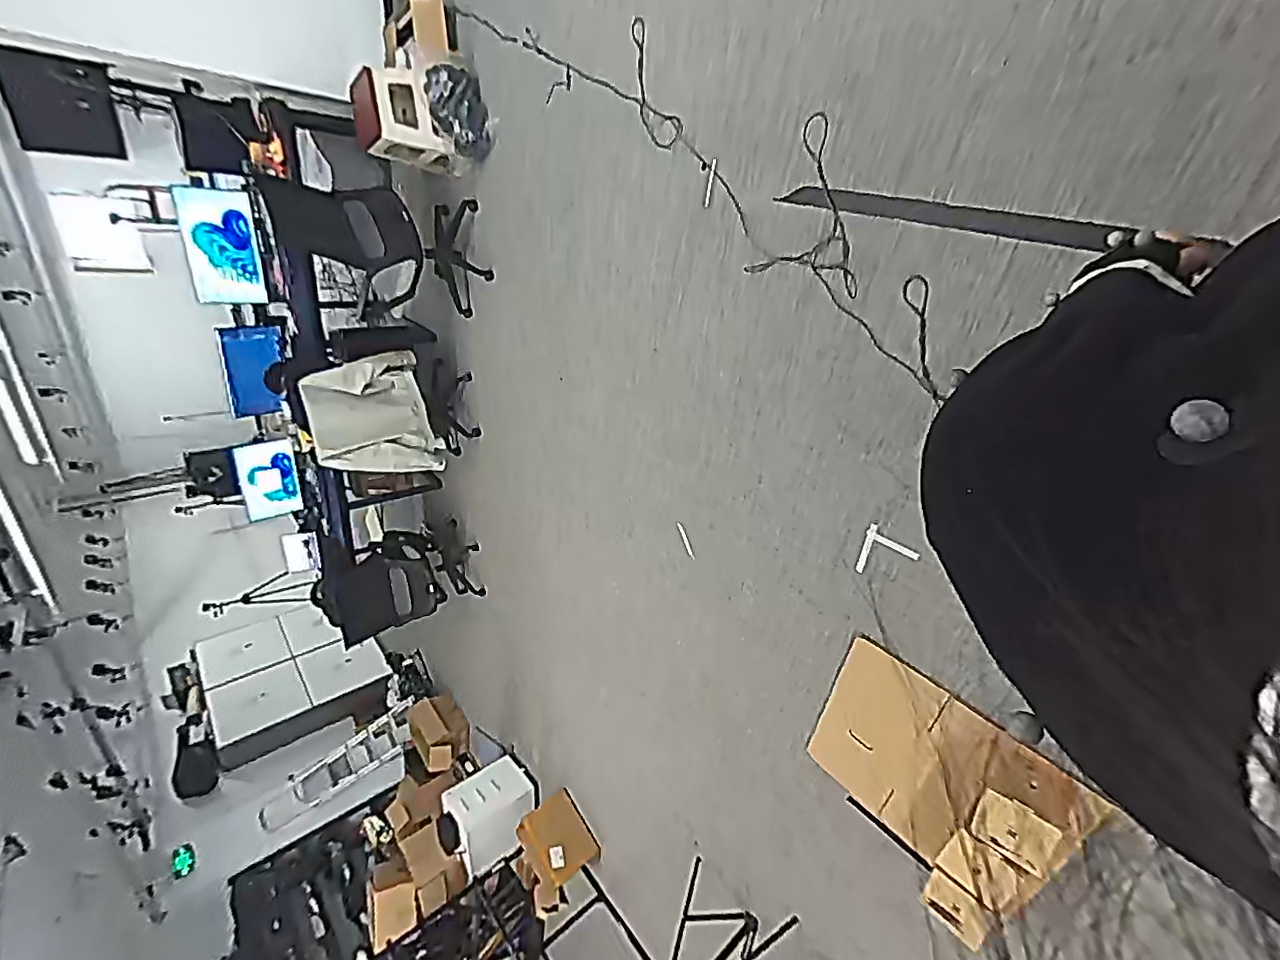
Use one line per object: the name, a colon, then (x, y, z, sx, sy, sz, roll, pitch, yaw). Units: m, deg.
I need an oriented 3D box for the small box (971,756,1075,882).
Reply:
small box: (0.984, 0.856, 1.387, 0.168, 0.176, 0.179, 23, 119, 43)
